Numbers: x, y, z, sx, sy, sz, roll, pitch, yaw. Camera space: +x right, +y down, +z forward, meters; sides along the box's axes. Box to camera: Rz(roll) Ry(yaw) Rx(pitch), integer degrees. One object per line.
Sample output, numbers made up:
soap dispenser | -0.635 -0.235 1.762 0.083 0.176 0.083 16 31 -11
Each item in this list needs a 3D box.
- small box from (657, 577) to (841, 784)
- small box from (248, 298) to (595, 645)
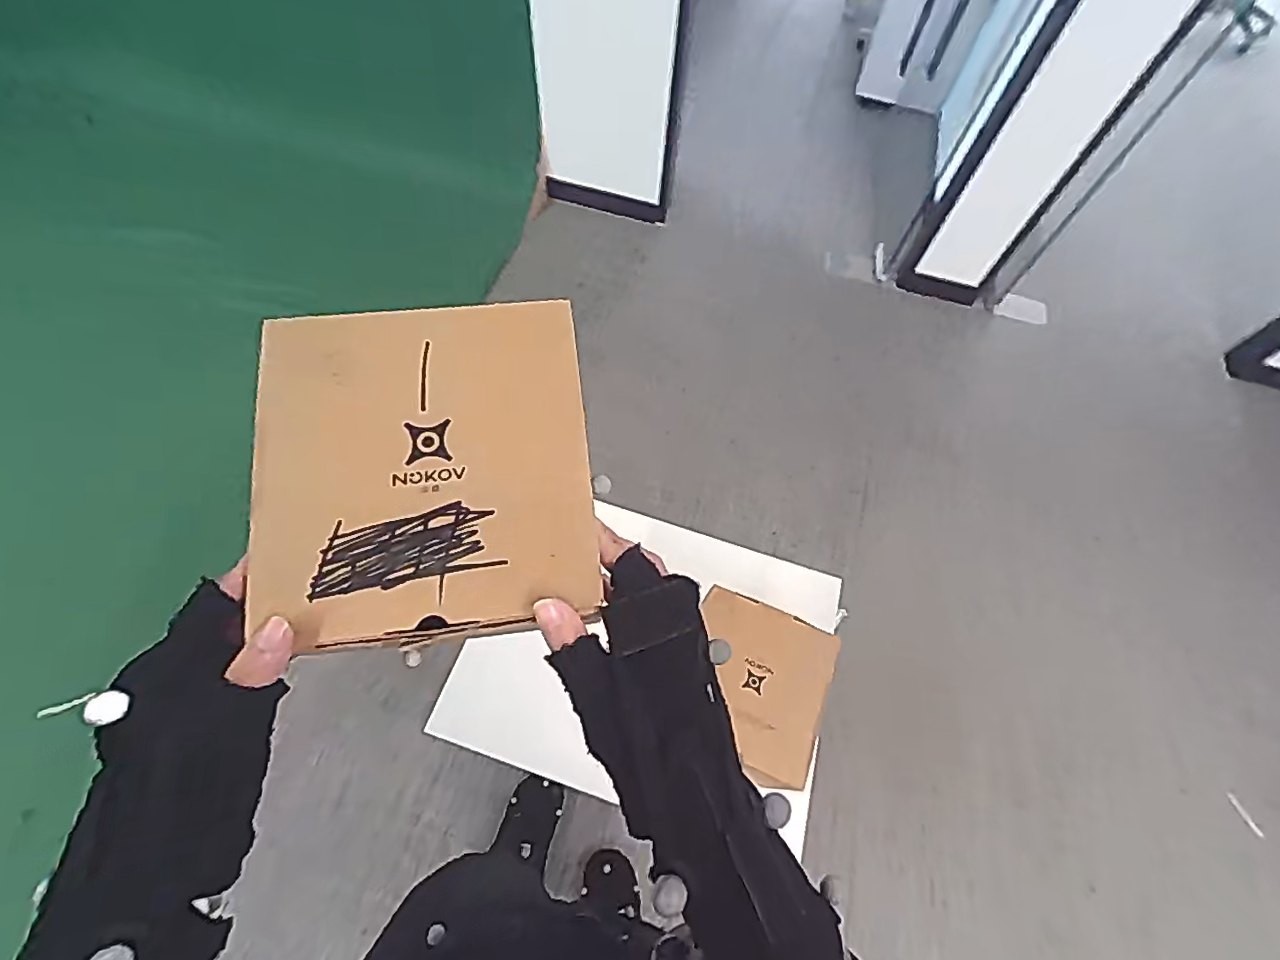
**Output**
small box | 0.126 0.252 0.676 0.168 0.176 0.179 21 63 9
small box | -0.120 0.007 0.360 0.168 0.176 0.179 -7 74 -6
